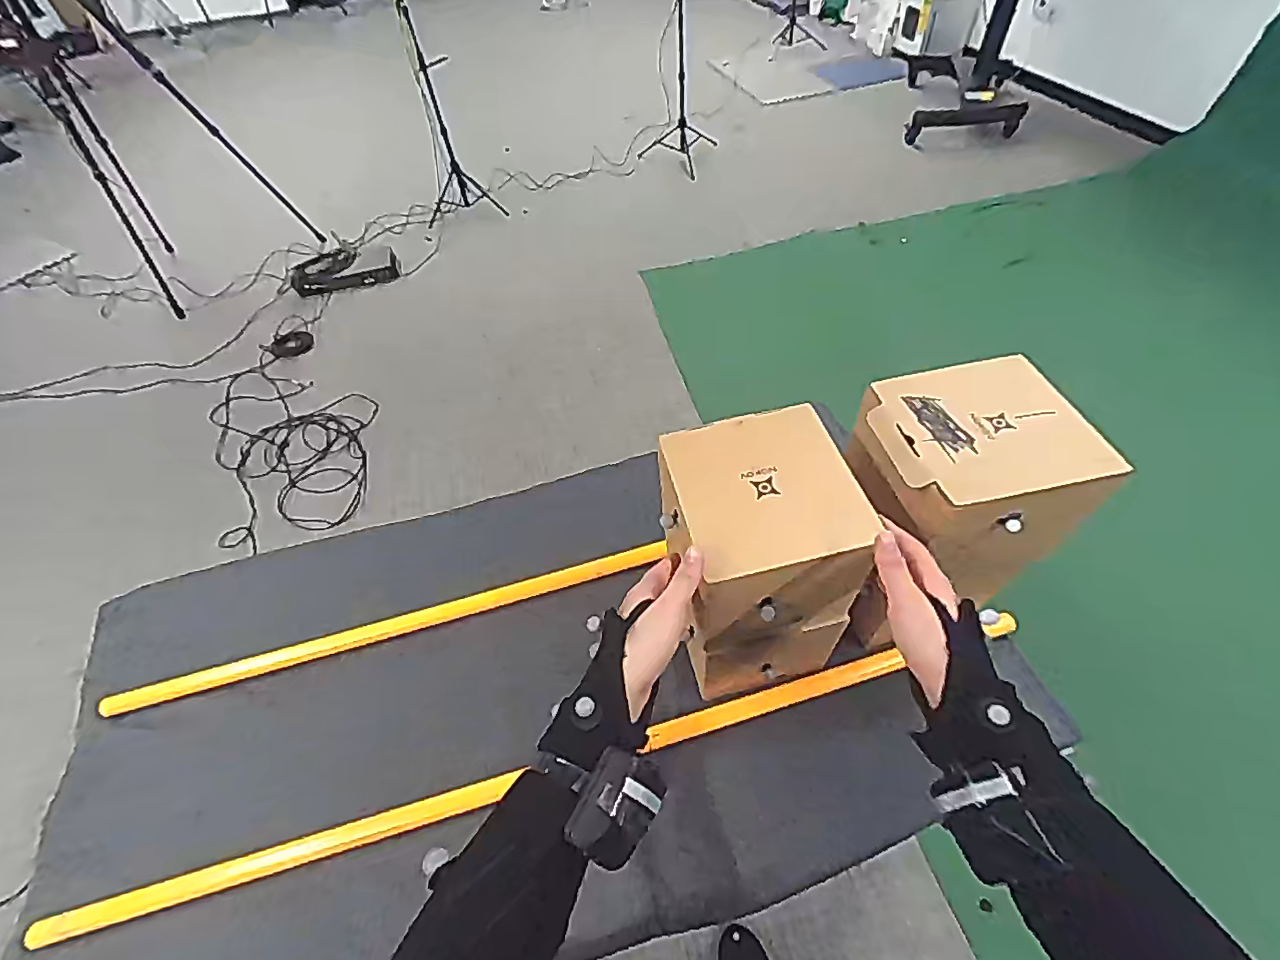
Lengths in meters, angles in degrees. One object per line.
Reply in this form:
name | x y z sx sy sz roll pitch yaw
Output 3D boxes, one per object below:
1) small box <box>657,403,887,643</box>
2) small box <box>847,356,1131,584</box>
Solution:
small box | 0.121 0.053 0.563 0.168 0.176 0.179 -13 52 -4
small box | 0.342 -0.005 0.583 0.179 0.176 0.168 -10 53 -4
